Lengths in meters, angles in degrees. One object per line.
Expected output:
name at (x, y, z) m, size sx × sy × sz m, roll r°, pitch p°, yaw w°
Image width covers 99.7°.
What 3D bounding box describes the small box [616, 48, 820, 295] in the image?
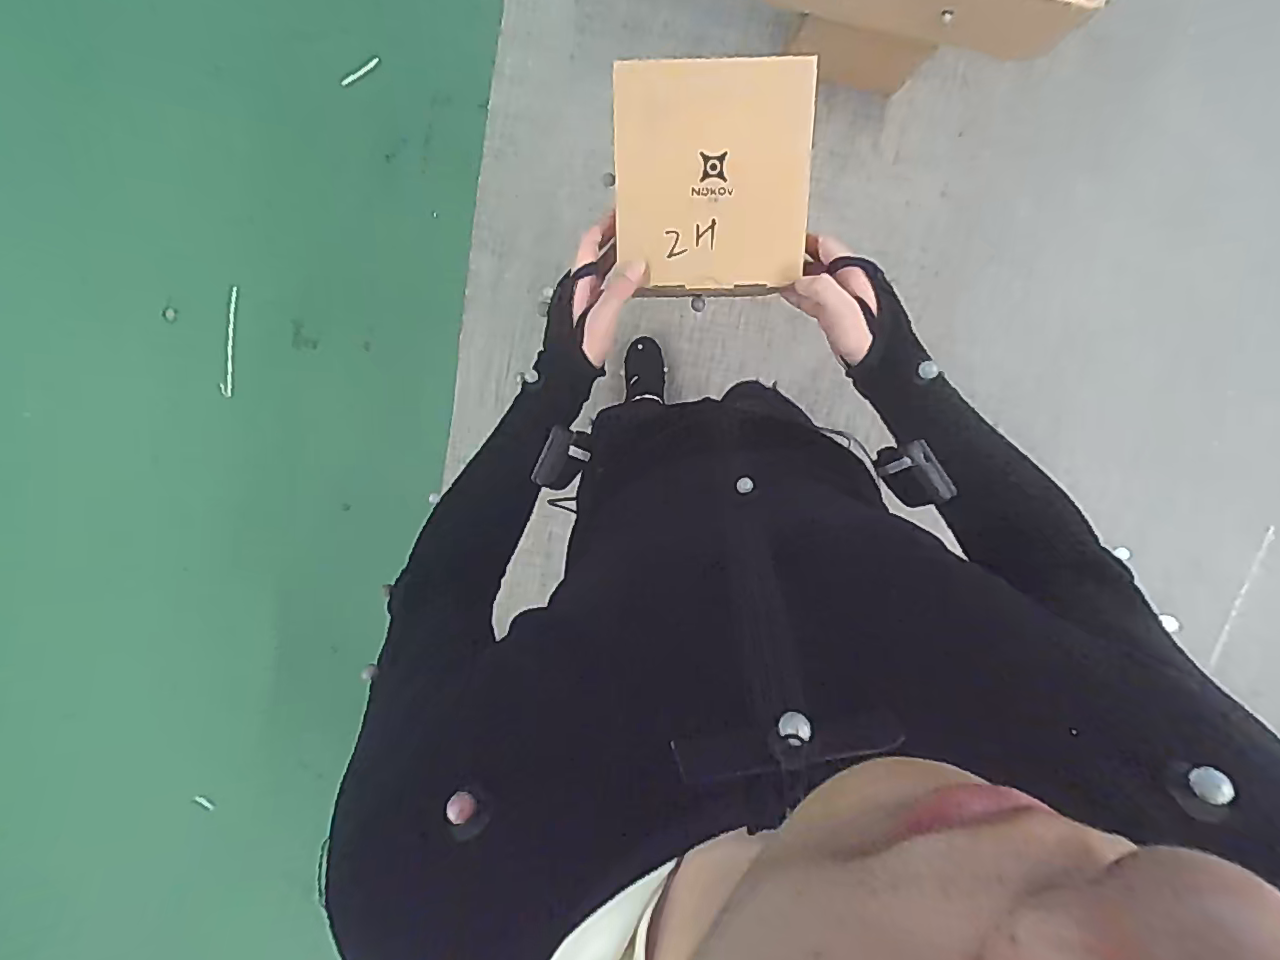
small box at (0.063, -0.281, 0.531) m, size 0.168 × 0.176 × 0.179 m, roll 1°, pitch 106°, yaw 1°
